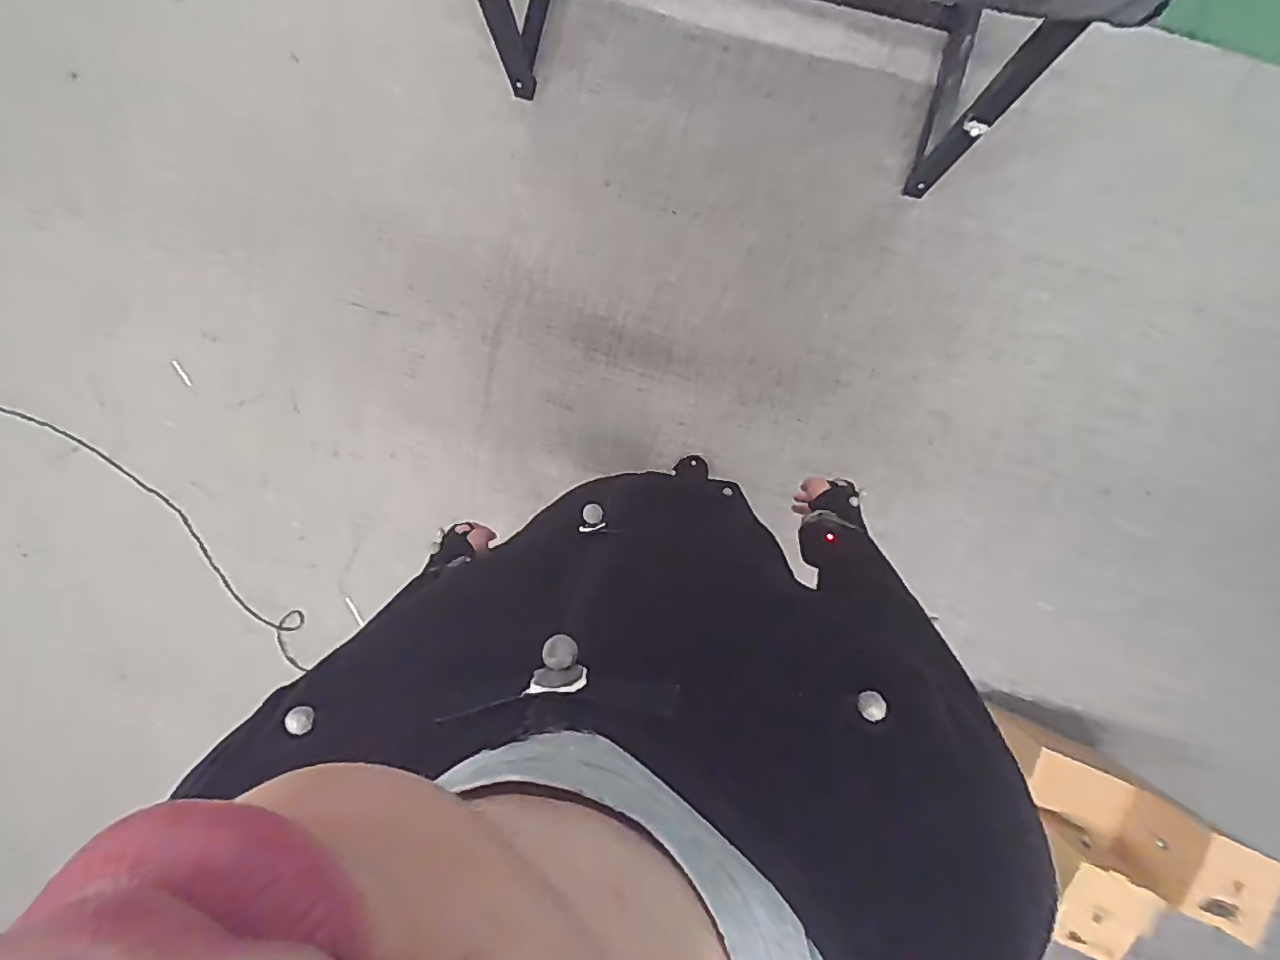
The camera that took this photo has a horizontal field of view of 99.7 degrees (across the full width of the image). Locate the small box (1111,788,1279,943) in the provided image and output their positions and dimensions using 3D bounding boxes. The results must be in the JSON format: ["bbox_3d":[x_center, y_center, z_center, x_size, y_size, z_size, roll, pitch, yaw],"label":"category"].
[{"bbox_3d":[1.168,0.808,1.152,0.168,0.176,0.179,25,88,0],"label":"small box"}]

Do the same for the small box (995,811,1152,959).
[{"bbox_3d":[0.910,0.857,1.154,0.168,0.176,0.179,25,92,-1],"label":"small box"}]
